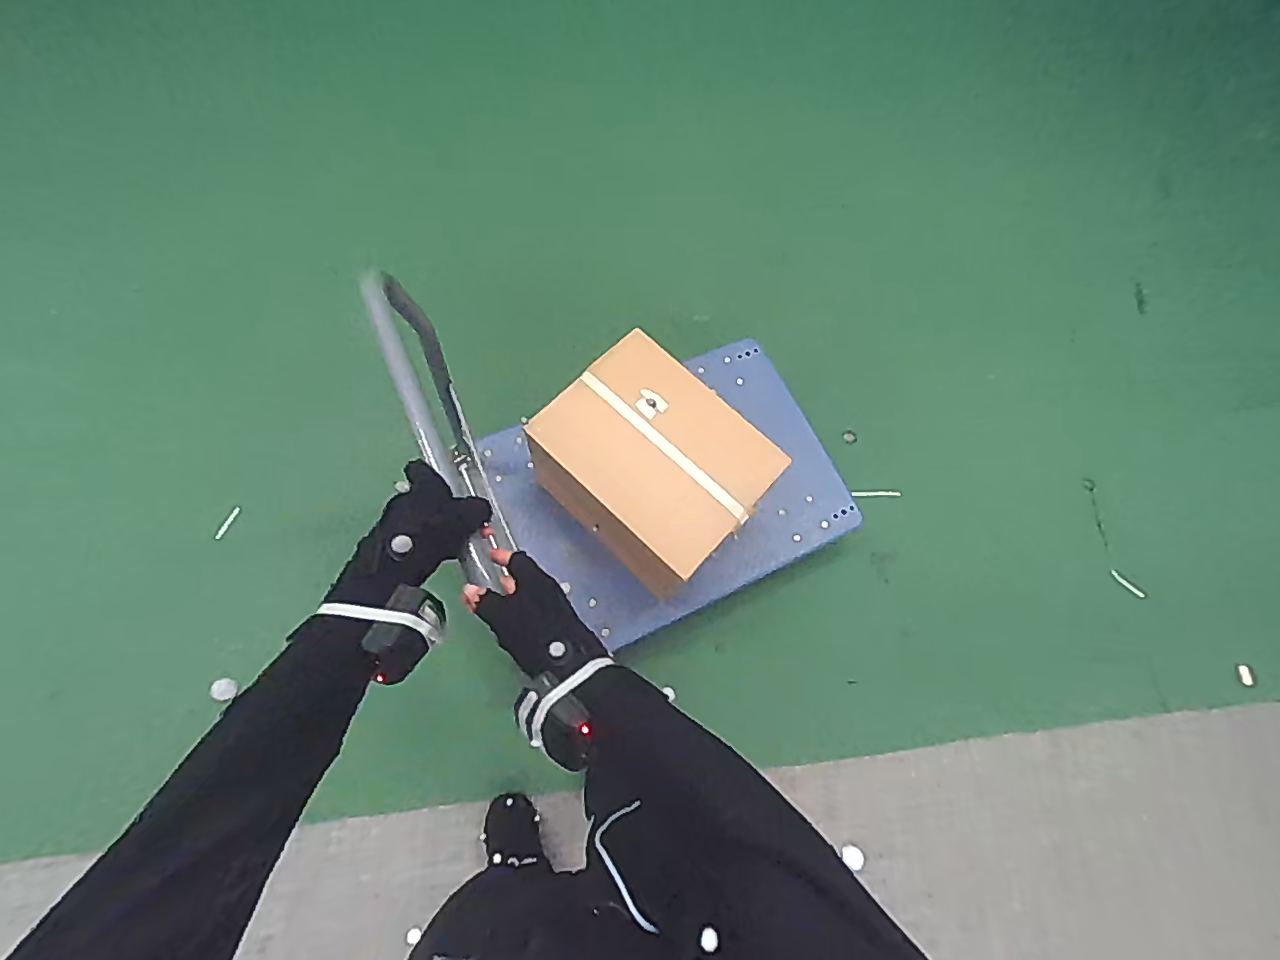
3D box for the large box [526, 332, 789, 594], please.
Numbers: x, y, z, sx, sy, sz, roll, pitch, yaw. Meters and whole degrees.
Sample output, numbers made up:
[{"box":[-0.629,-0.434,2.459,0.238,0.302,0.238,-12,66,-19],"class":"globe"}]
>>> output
[{"box":[0.027,-0.017,1.142,0.408,0.320,0.320,42,72,10],"class":"large box"}]
